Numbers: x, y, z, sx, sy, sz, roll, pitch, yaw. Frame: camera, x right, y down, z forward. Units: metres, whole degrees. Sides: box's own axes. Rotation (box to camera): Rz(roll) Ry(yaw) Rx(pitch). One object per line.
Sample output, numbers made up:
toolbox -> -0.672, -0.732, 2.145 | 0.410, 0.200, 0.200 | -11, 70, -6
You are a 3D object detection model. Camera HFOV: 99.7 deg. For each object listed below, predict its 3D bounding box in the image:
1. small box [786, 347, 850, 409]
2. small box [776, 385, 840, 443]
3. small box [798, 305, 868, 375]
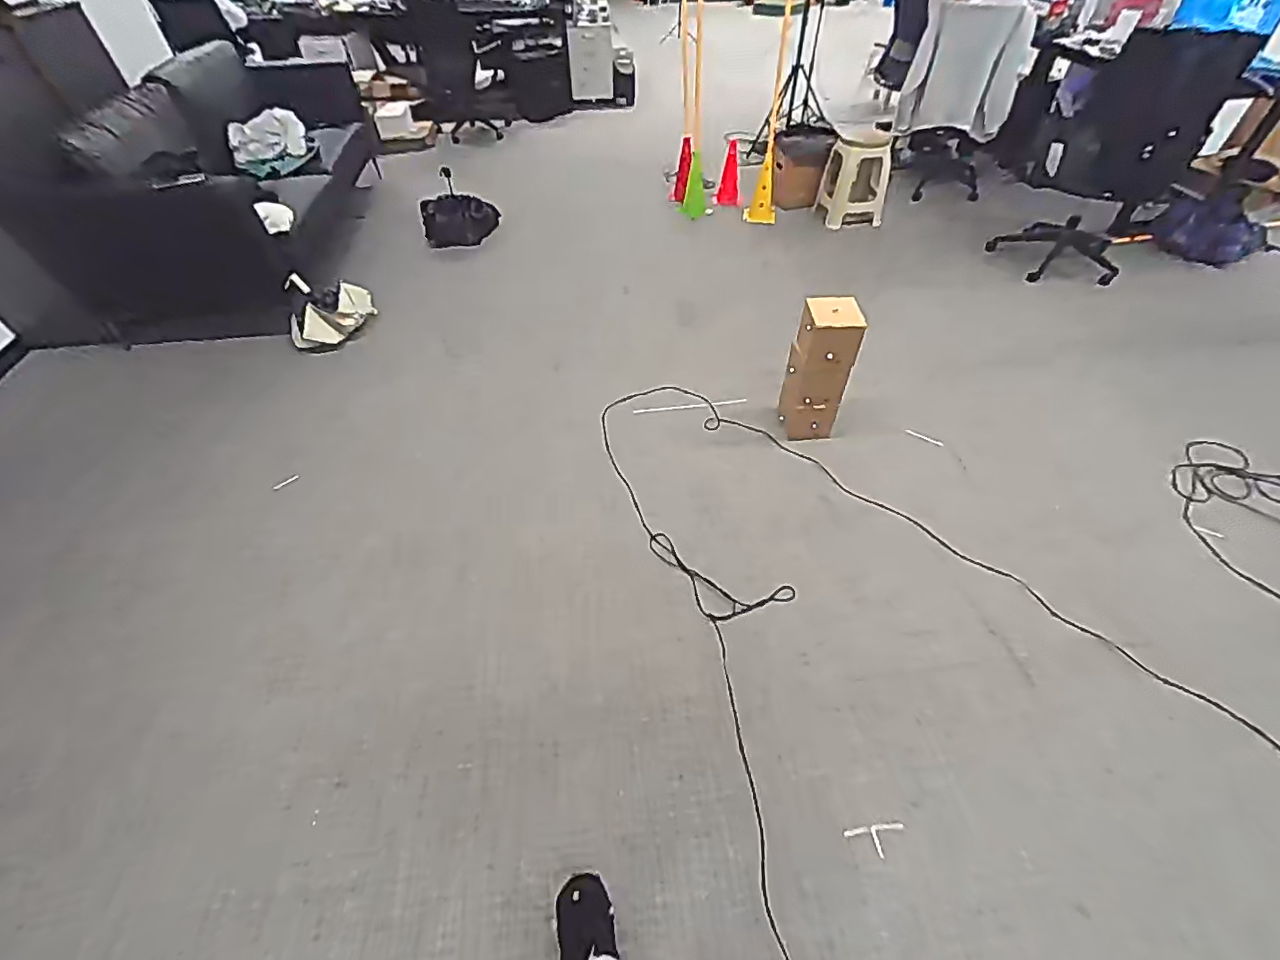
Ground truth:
small box -> 0.644, -0.371, 1.967 | 0.168, 0.176, 0.179 | -4, 47, -2
small box -> 0.644, -0.255, 2.087 | 0.168, 0.176, 0.179 | -5, 49, -7
small box -> 0.650, -0.479, 1.846 | 0.168, 0.176, 0.179 | 0, 49, 1
